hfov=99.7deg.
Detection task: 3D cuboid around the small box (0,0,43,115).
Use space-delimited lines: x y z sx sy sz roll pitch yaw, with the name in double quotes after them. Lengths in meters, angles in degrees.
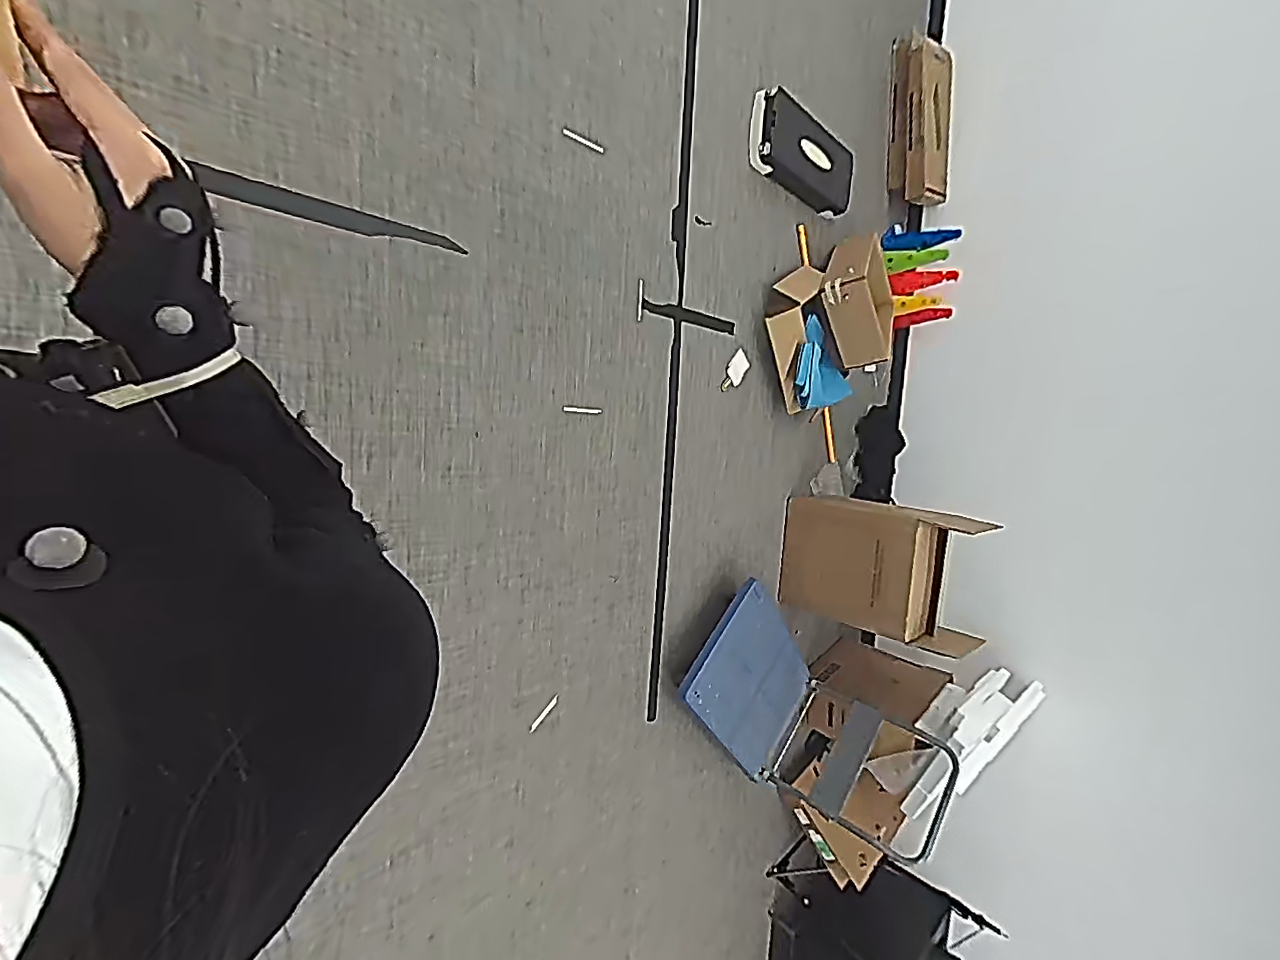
-0.381 -0.271 0.217 0.168 0.176 0.179 -14 120 -43 "small box"
